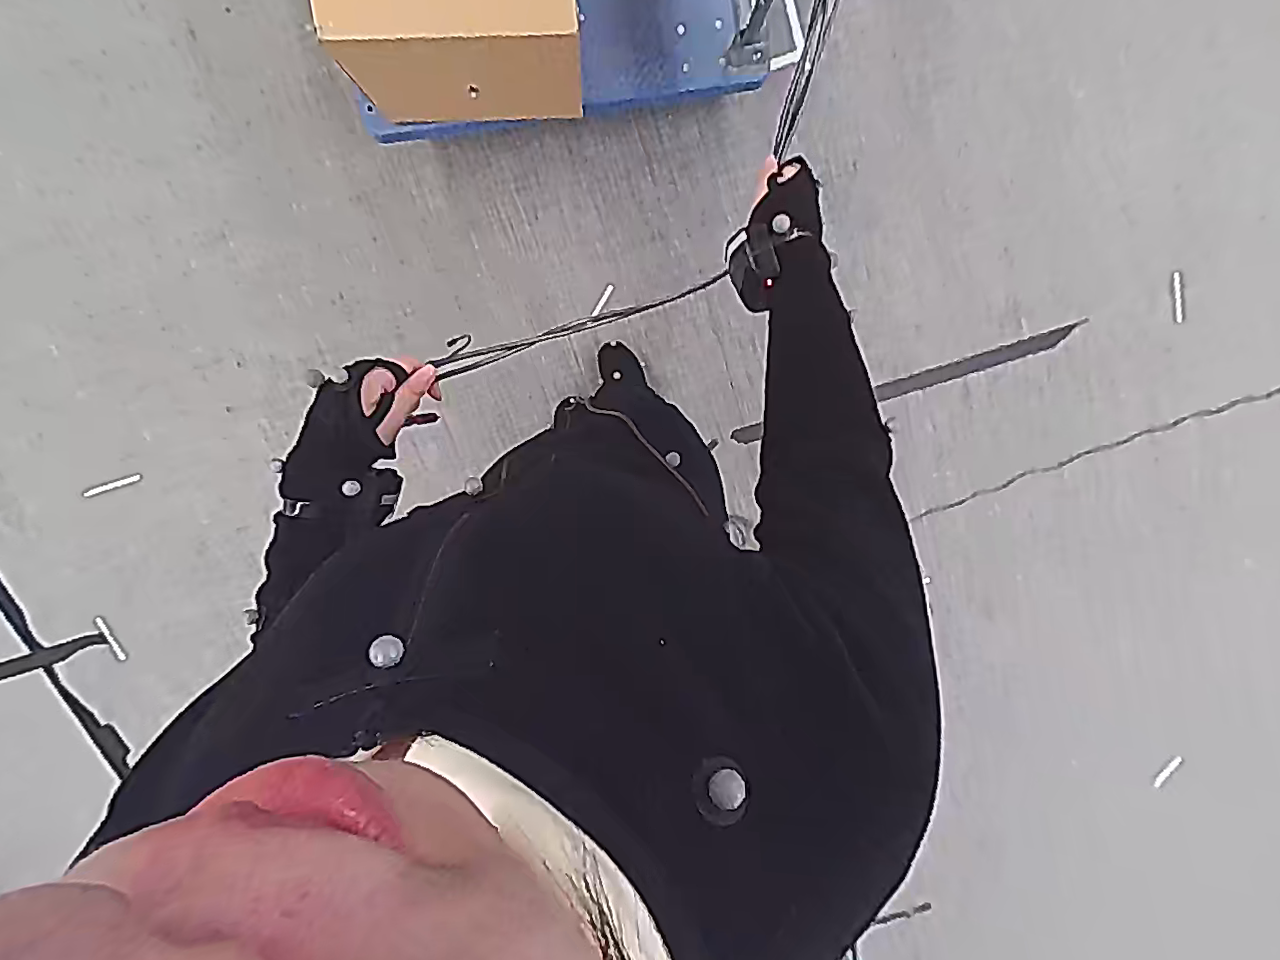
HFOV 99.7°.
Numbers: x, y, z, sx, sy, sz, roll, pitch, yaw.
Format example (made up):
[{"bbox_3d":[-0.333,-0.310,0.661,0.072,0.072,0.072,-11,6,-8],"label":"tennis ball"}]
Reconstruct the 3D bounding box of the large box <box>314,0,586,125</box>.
[{"bbox_3d":[-0.313,-0.864,0.952,0.408,0.320,0.320,-4,102,-3],"label":"large box"}]
